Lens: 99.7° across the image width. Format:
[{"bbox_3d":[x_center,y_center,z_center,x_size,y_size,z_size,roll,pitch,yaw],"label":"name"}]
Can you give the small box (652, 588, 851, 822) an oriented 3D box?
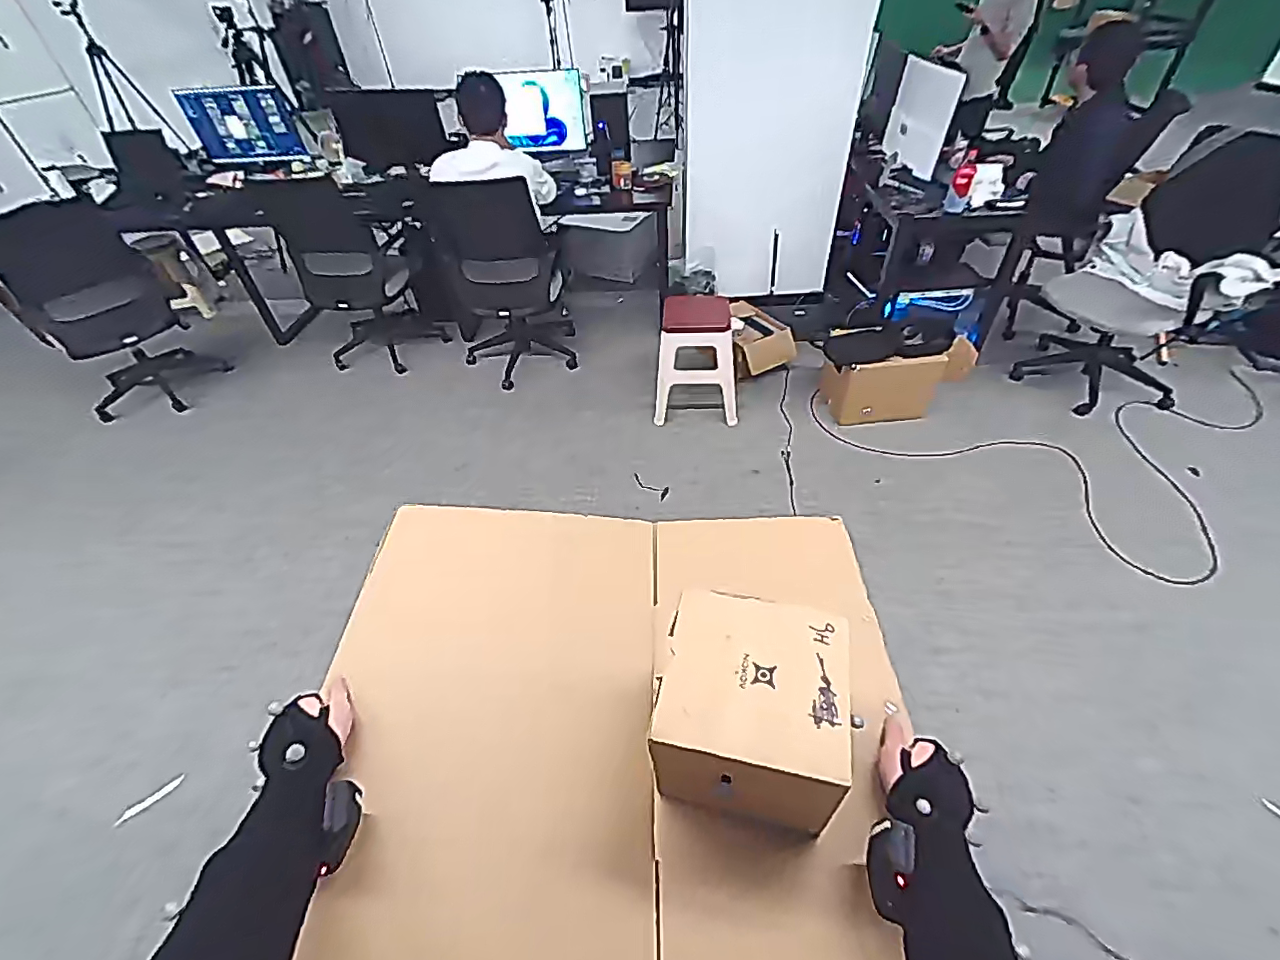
[{"bbox_3d":[0.122,0.241,0.582,0.179,0.176,0.168,6,46,14],"label":"small box"}]
